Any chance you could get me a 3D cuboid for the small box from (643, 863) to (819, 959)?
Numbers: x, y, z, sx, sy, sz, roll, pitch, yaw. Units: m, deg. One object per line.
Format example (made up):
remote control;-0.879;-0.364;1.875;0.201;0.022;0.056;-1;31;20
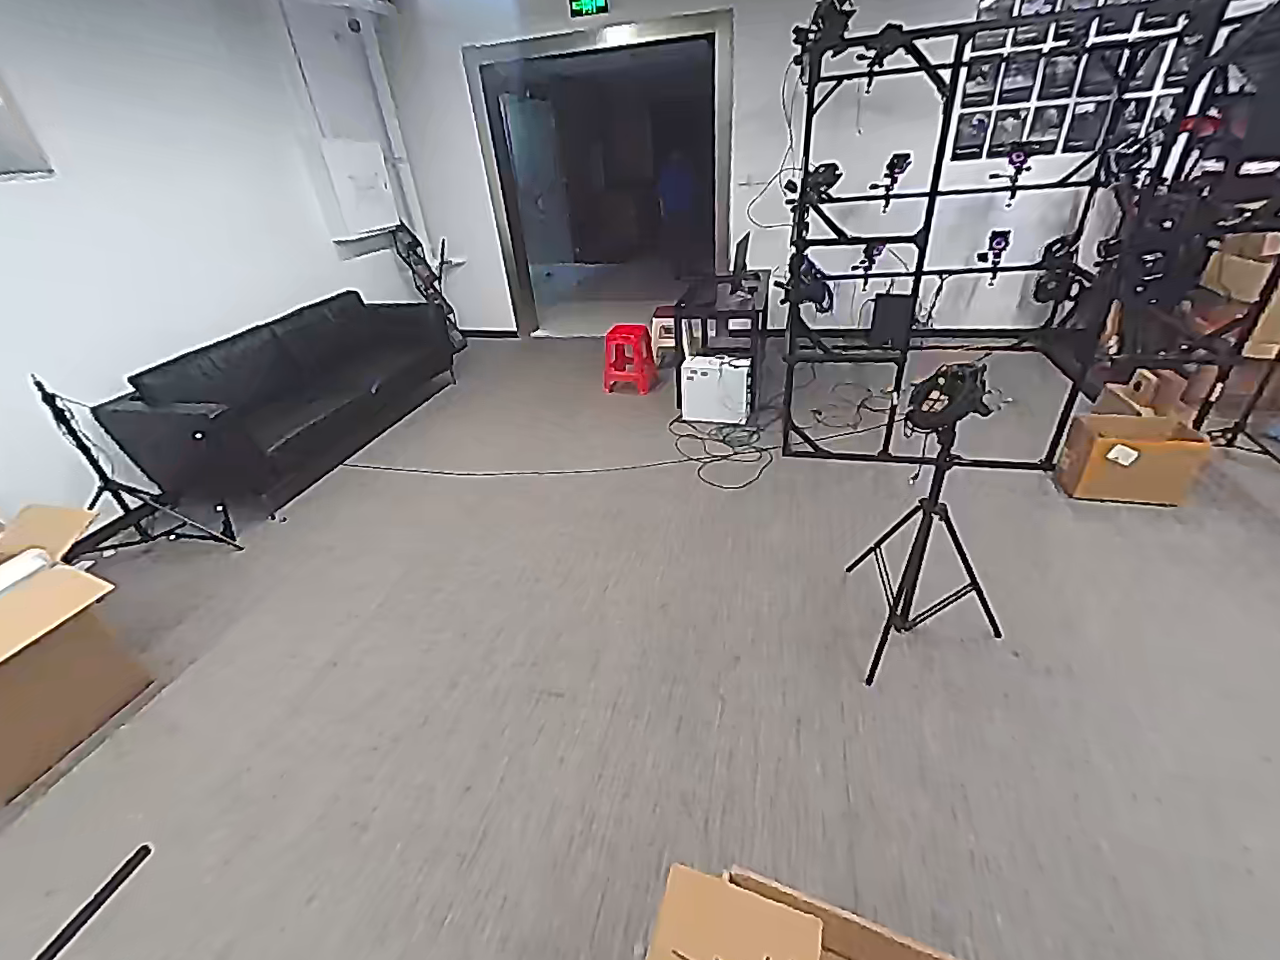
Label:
small box;0.089;0.583;0.619;0.179;0.176;0.168;14;43;13
